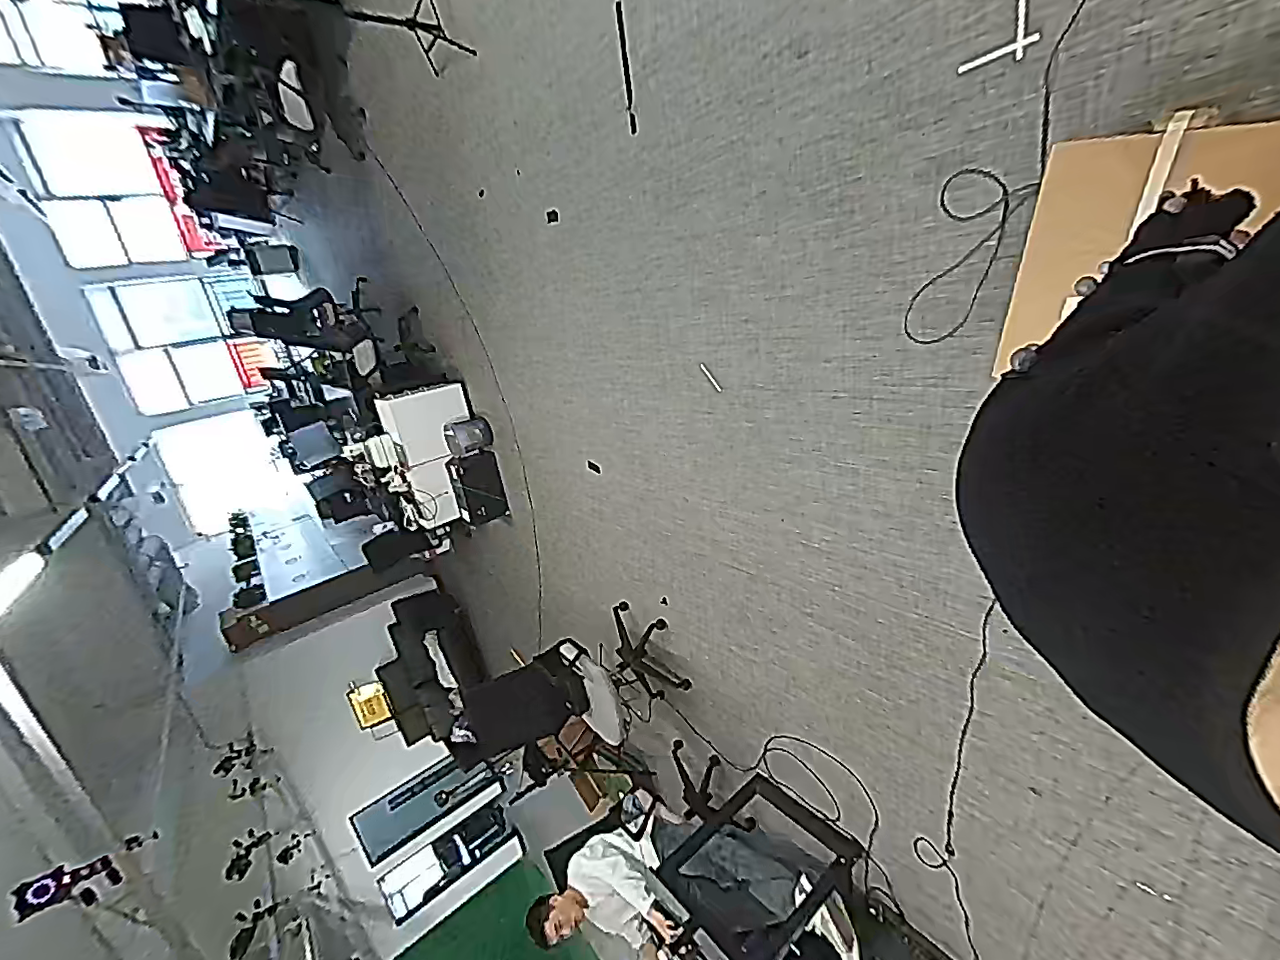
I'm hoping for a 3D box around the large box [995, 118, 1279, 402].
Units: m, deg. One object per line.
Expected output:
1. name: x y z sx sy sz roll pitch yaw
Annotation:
1. large box: 0.916 -0.402 0.985 0.320 0.320 0.408 27 131 43
